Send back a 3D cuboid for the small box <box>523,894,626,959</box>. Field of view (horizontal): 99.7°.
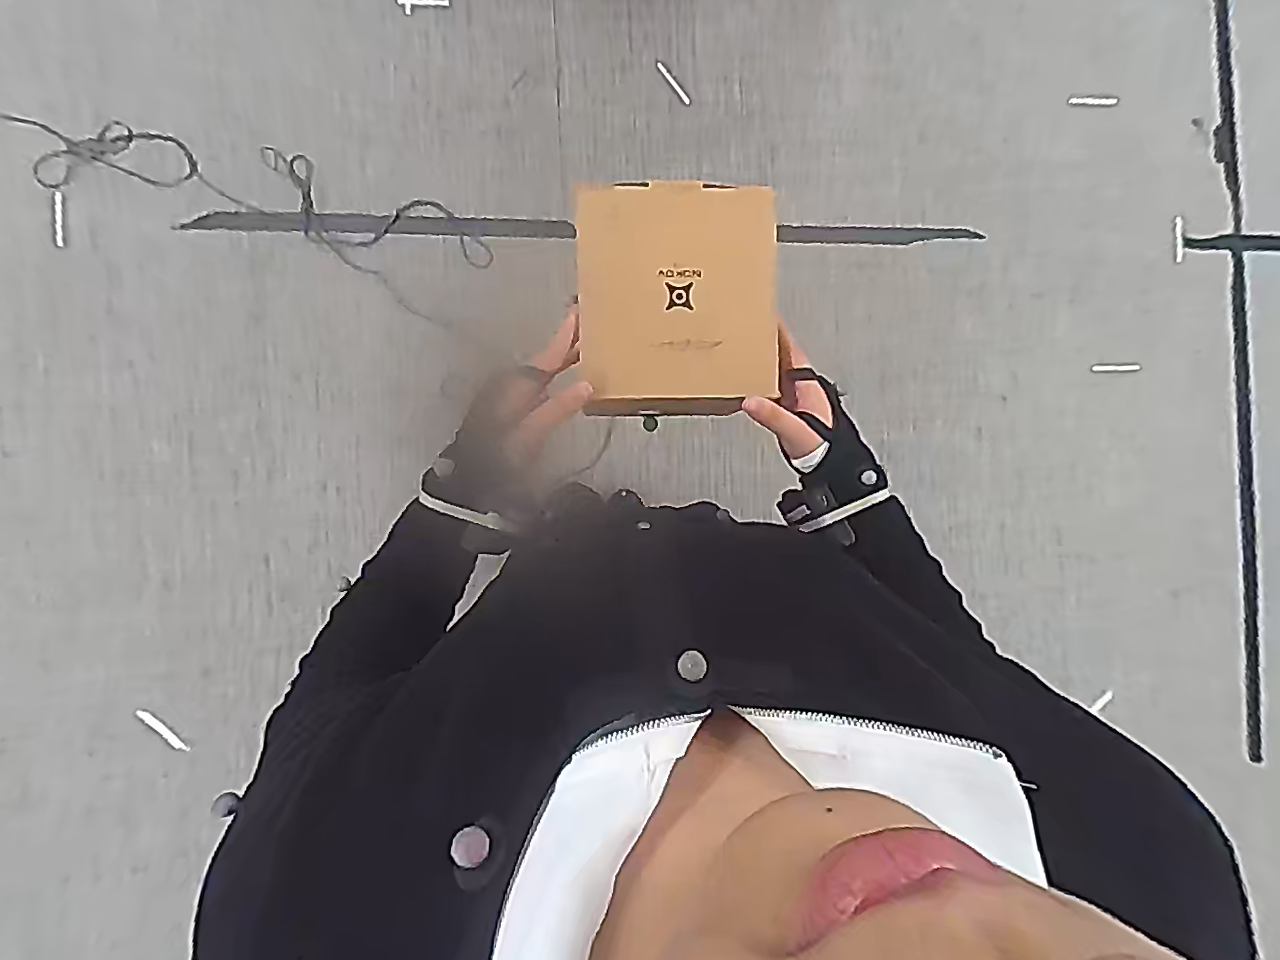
[{"bbox_3d":[-0.107,0.855,0.918,0.168,0.176,0.179,-2,88,-3],"label":"small box"}]

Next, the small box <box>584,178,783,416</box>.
[{"bbox_3d":[0.030,-0.158,0.520,0.168,0.176,0.179,-1,91,-4],"label":"small box"}]
